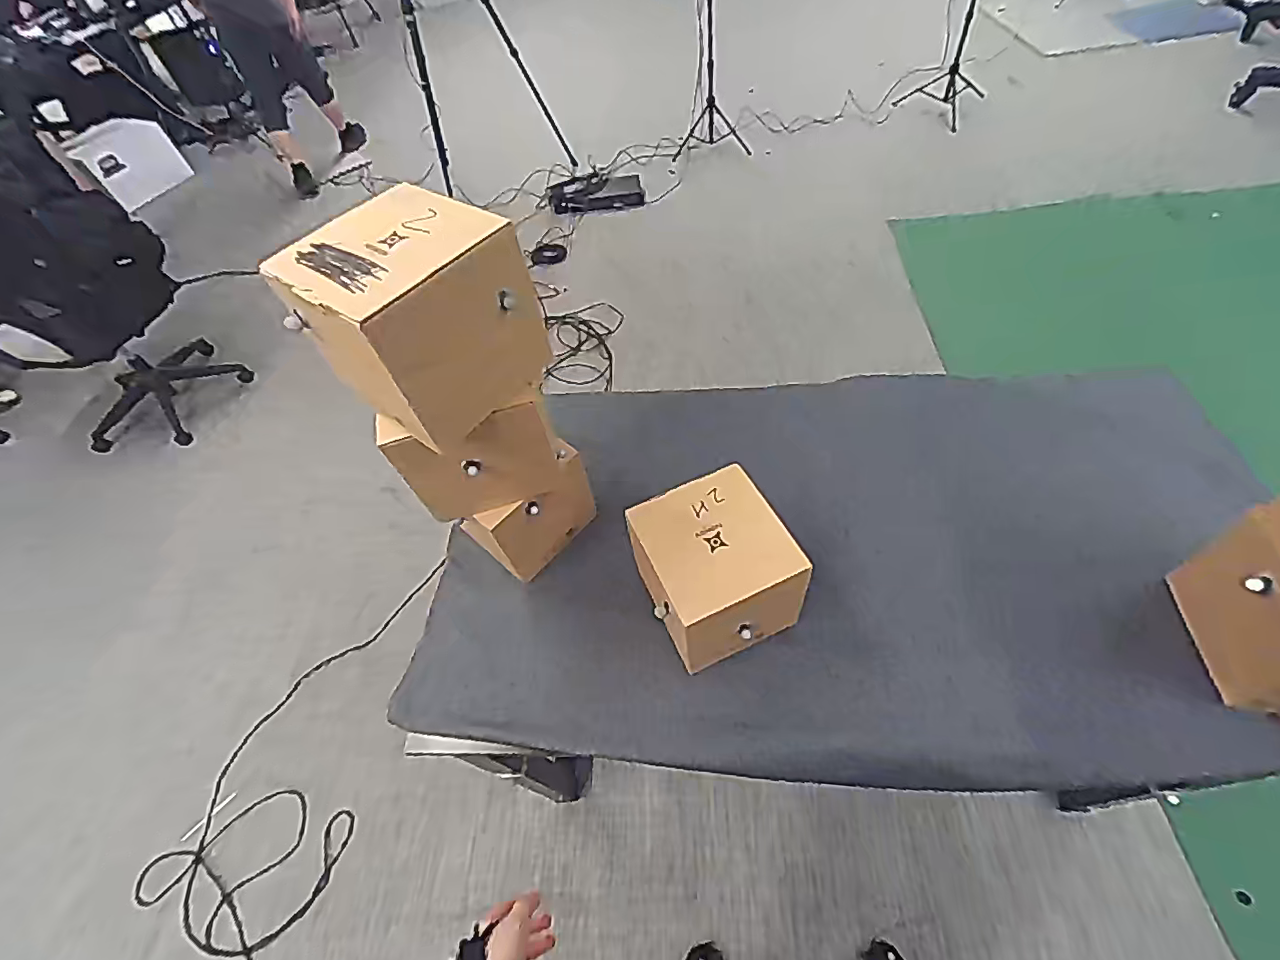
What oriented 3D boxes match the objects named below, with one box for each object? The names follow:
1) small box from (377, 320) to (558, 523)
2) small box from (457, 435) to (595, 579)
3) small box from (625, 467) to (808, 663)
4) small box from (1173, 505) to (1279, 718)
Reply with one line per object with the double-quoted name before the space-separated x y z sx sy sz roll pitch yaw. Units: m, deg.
"small box" -0.214 -0.071 0.698 0.179 0.176 0.168 -18 54 -4
"small box" -0.193 0.022 0.833 0.179 0.176 0.168 33 65 28
"small box" 0.096 0.120 0.714 0.168 0.176 0.179 -23 53 -9
"small box" 0.747 0.150 0.585 0.168 0.176 0.179 3 52 13
